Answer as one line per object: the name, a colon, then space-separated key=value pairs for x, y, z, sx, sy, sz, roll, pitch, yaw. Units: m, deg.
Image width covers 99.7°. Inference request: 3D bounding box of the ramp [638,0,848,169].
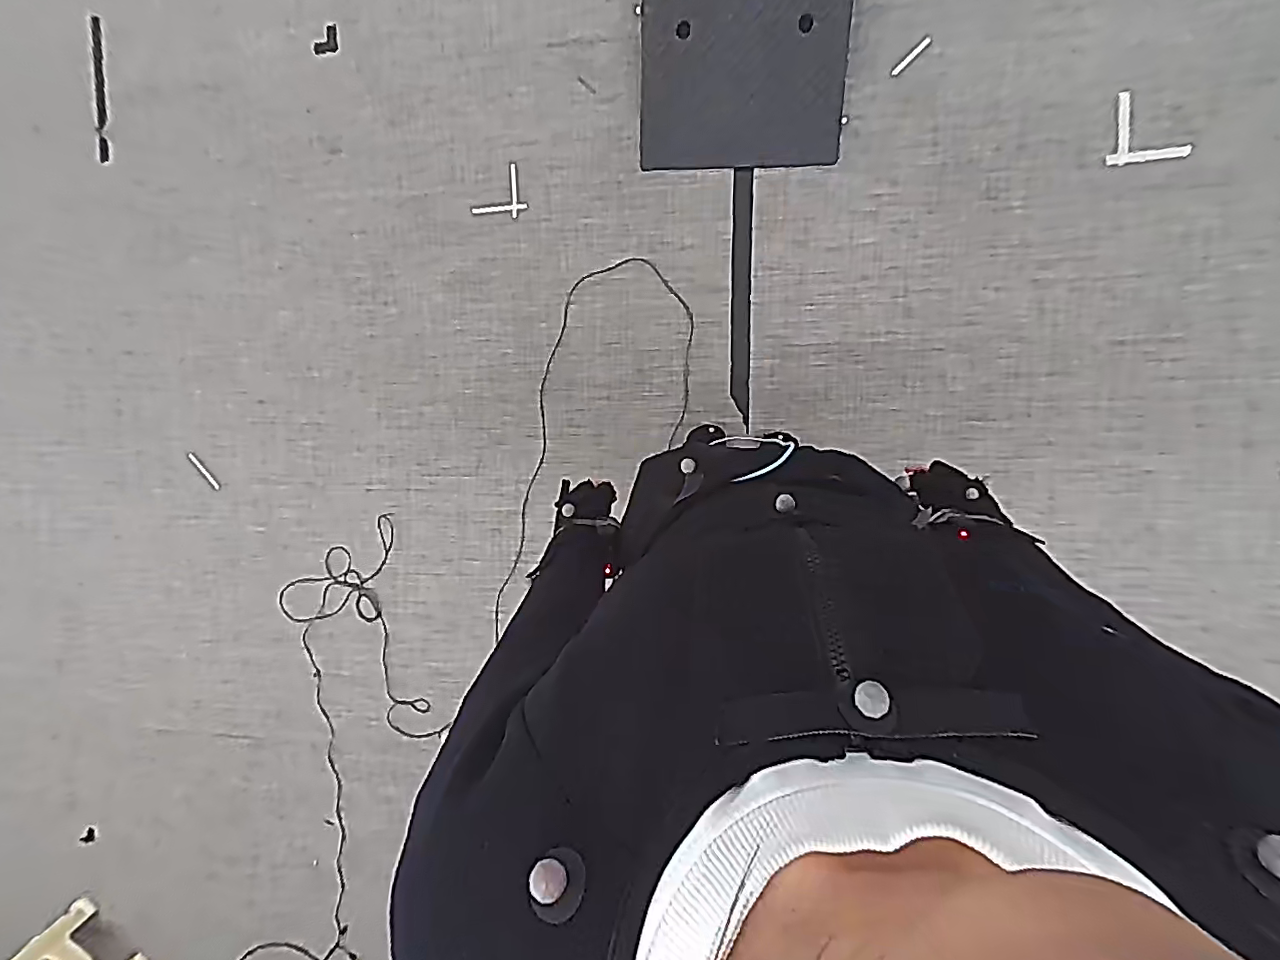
ramp: x=0.239 y=-1.271 z=1.225 sx=0.509 sy=0.206 sz=0.991 roll=1 pitch=96 yaw=7
